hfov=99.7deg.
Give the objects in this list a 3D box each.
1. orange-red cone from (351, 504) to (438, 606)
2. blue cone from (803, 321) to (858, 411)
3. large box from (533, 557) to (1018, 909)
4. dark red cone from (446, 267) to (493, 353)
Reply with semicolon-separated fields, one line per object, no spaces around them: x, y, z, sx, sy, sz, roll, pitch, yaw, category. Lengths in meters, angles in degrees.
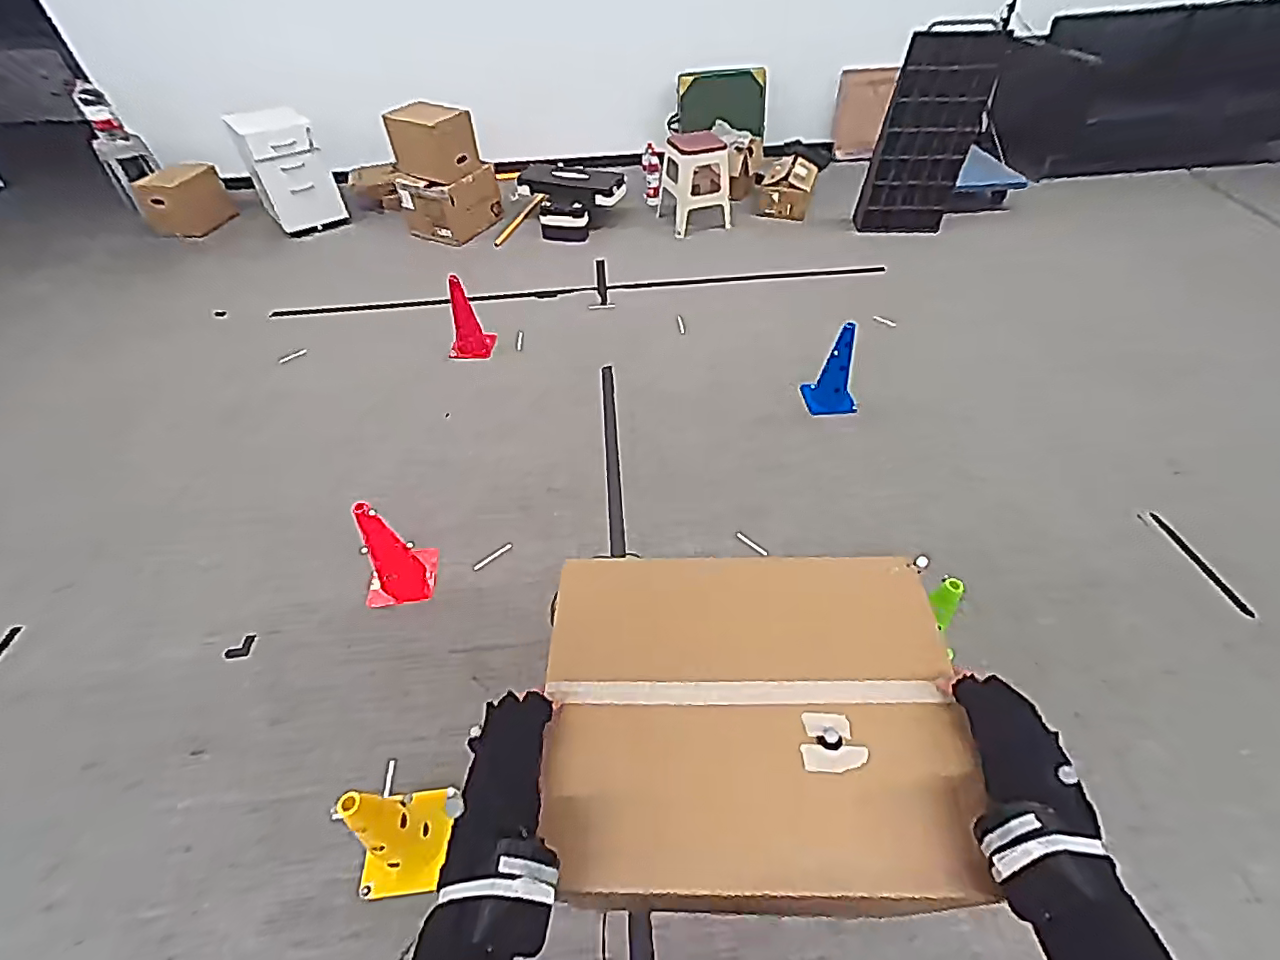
-0.765;0.198;1.614;0.198;0.360;0.199;-8;49;-3;orange-red cone
0.798;-0.466;2.178;0.192;0.380;0.193;-2;48;-1;blue cone
0.113;0.306;0.647;0.408;0.320;0.320;-1;49;2;large box
-0.817;-0.777;2.474;0.201;0.394;0.202;0;48;1;dark red cone
